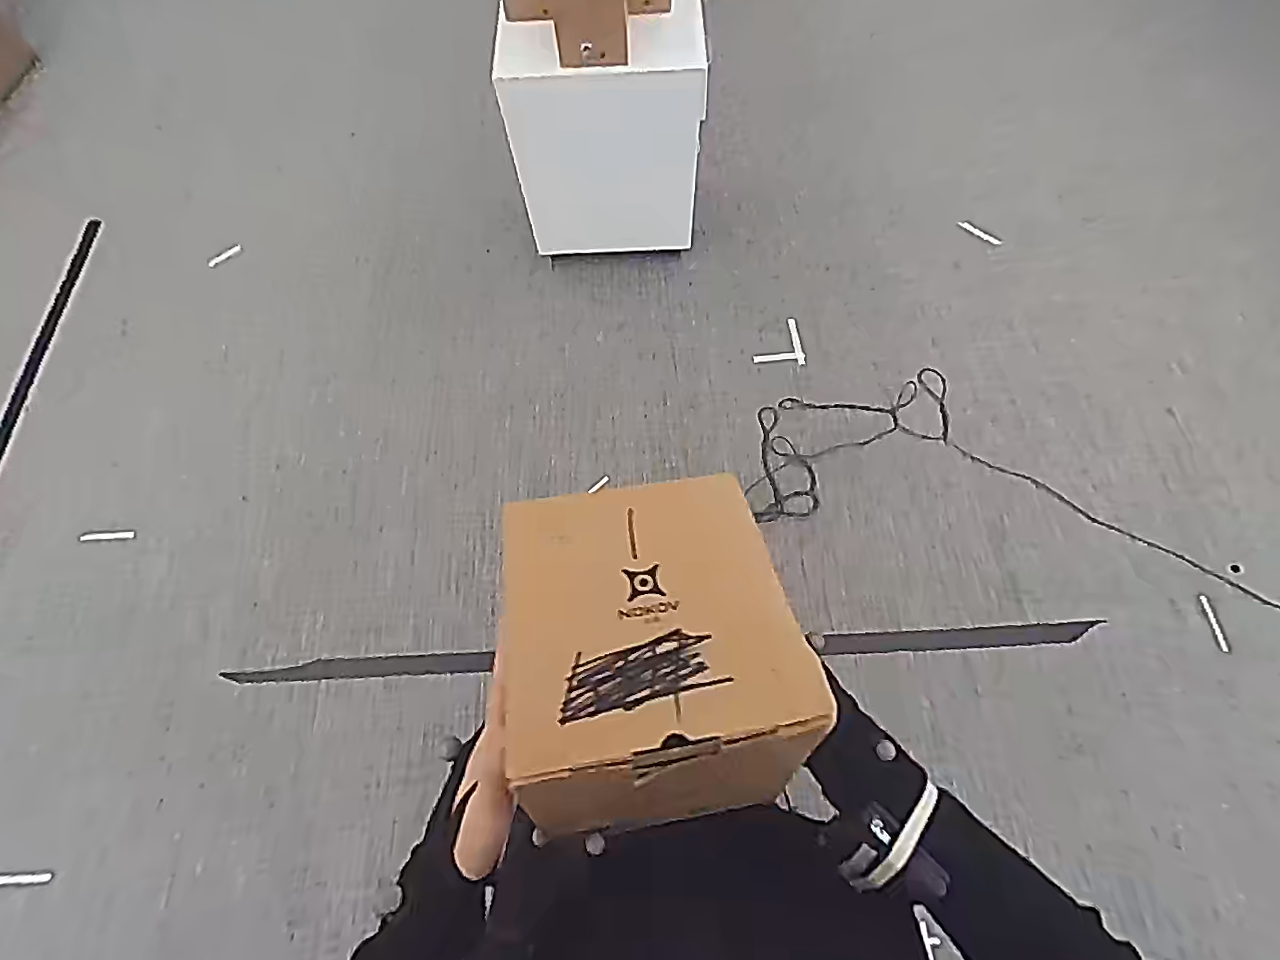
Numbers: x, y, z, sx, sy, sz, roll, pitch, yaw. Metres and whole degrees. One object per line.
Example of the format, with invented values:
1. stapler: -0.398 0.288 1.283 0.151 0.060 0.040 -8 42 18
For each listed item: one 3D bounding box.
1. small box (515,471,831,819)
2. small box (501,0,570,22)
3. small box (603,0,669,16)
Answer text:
1. small box: 0.008 0.120 0.383 0.168 0.176 0.179 -7 47 -6
2. small box: -0.264 -1.266 1.326 0.168 0.176 0.179 -2 70 0
3. small box: -0.013 -1.280 1.325 0.168 0.176 0.179 -2 69 1
